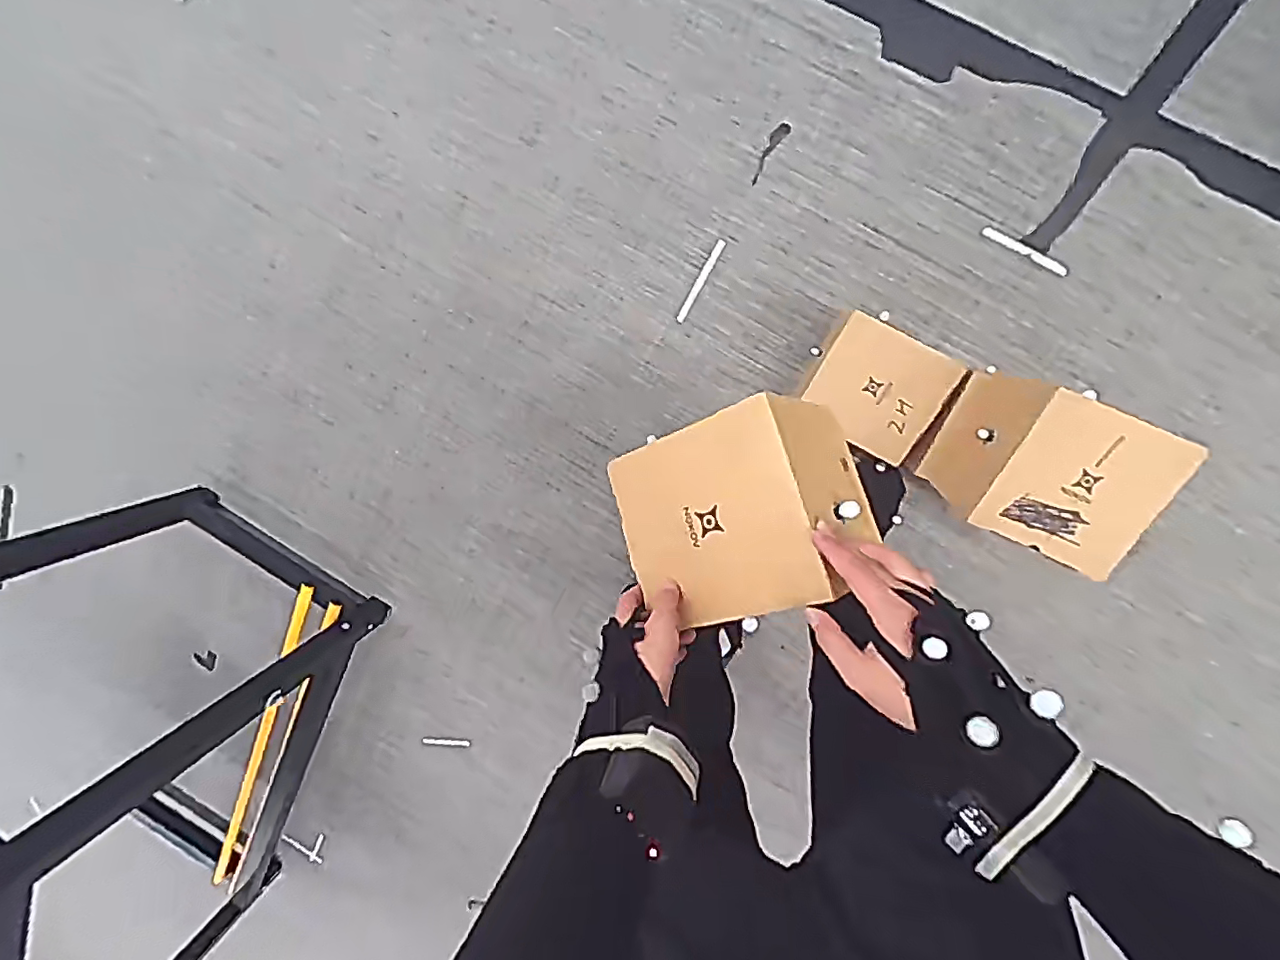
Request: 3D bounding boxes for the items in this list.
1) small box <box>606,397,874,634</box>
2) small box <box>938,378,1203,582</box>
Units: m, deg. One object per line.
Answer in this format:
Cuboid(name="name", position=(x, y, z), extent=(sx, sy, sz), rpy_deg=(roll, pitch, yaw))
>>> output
Cuboid(name="small box", position=(0.102, 0.033, 0.511), extent=(0.179, 0.176, 0.168), rpy_deg=(-23, 78, 36))
Cuboid(name="small box", position=(0.504, -0.011, 0.674), extent=(0.168, 0.176, 0.179), rpy_deg=(26, 110, 5))
